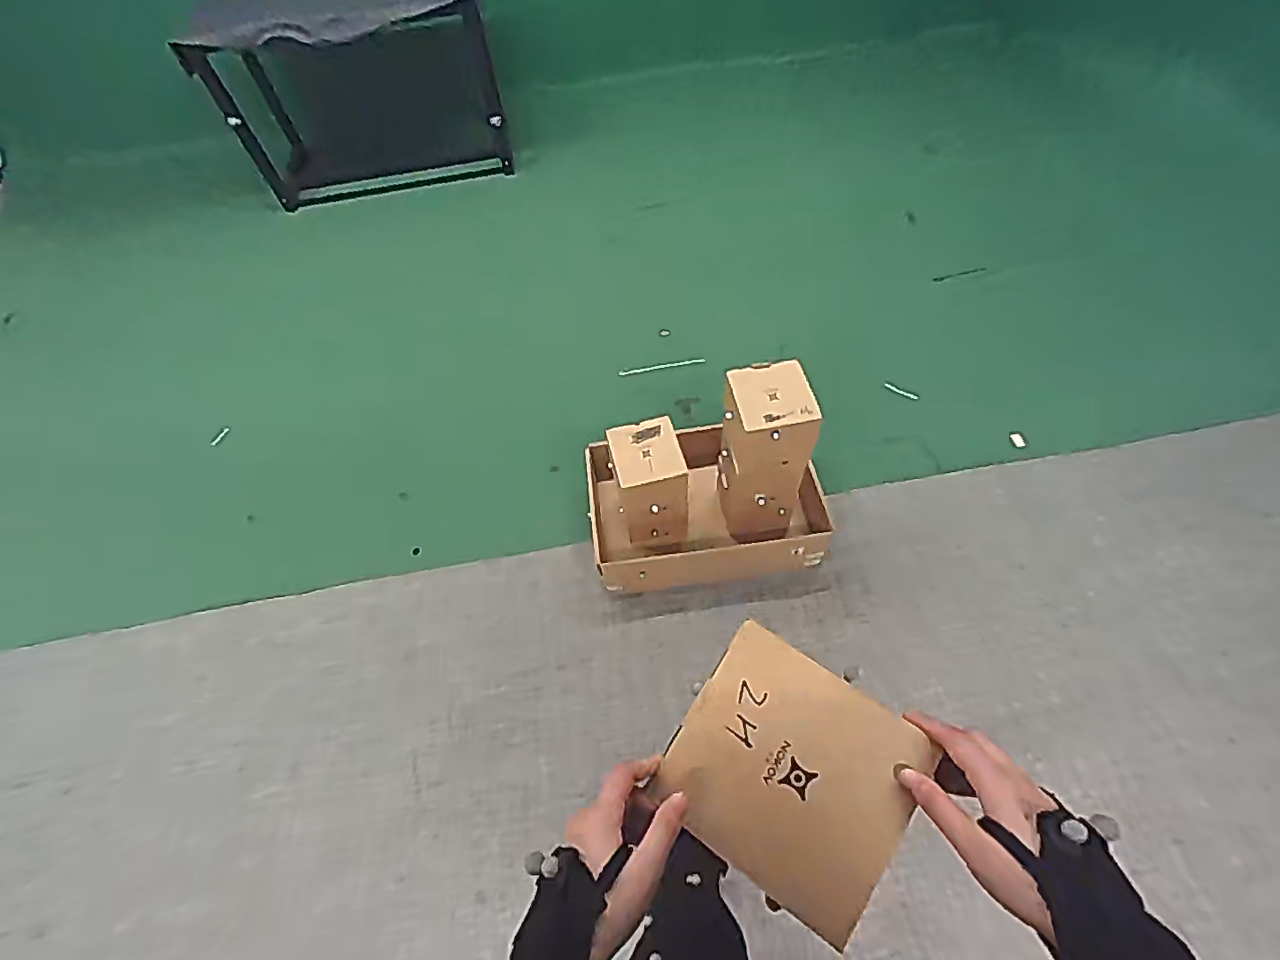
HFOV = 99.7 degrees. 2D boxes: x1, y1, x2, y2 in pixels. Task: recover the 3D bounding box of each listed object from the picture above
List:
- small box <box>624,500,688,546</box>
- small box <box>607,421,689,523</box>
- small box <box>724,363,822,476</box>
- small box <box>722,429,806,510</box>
[{"bbox_3d":[0.033,0.061,1.510,0.168,0.176,0.179,-12,57,-4],"label":"small box"},{"bbox_3d":[0.018,-0.018,1.365,0.168,0.176,0.179,-13,59,-5],"label":"small box"},{"bbox_3d":[0.289,-0.133,1.222,0.168,0.176,0.179,-10,56,0],"label":"small box"},{"bbox_3d":[0.302,-0.045,1.360,0.168,0.176,0.179,-8,58,1],"label":"small box"}]
